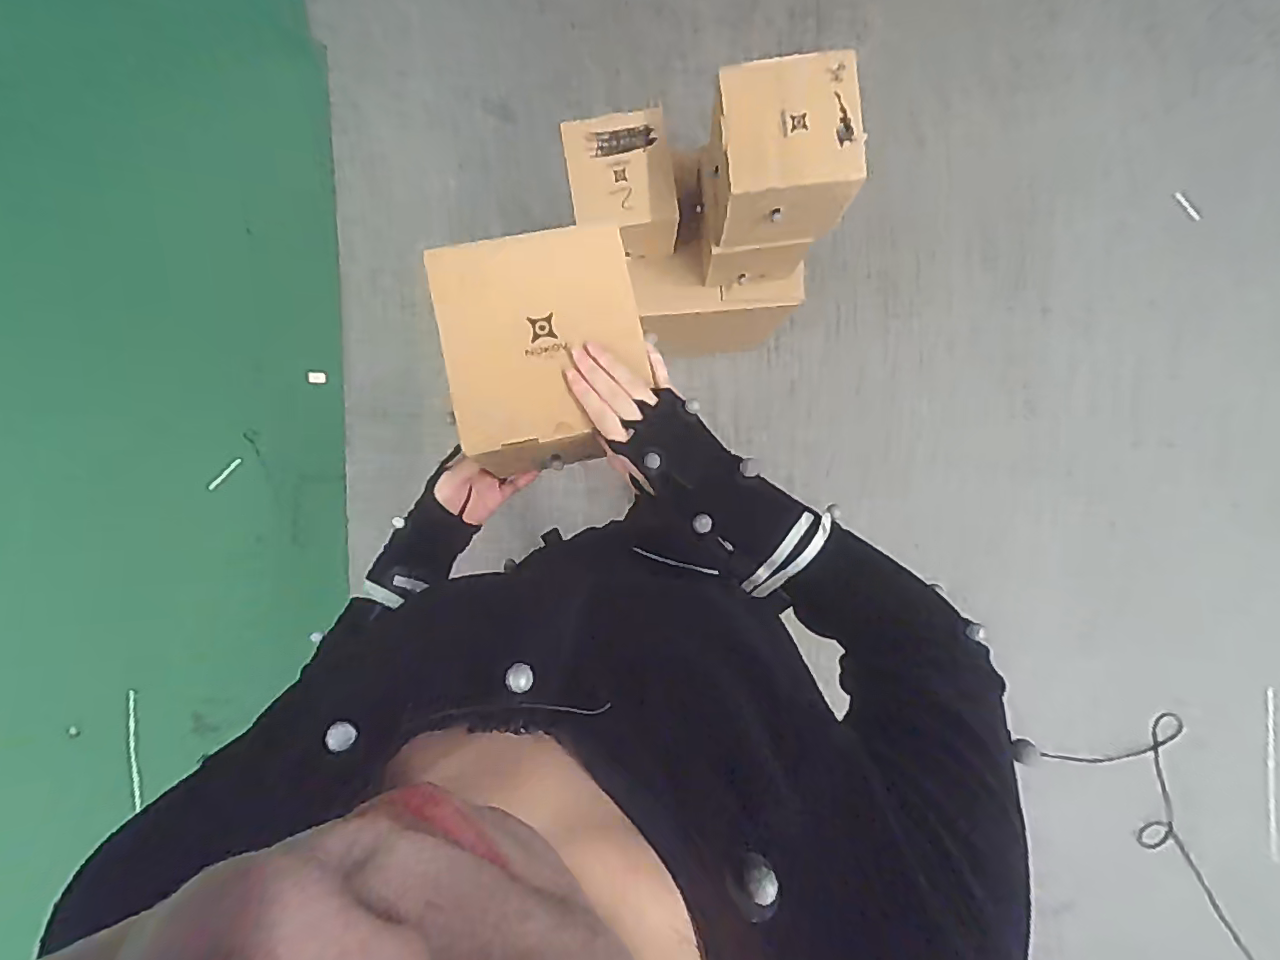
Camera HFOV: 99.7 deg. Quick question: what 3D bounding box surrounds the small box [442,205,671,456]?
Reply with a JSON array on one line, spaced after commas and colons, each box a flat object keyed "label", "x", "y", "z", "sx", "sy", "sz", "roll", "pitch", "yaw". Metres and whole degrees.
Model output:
[{"label": "small box", "x": -0.079, "y": -0.132, "z": 0.529, "sx": 0.168, "sy": 0.176, "sz": 0.179, "roll": -12, "pitch": 87, "yaw": -7}]
